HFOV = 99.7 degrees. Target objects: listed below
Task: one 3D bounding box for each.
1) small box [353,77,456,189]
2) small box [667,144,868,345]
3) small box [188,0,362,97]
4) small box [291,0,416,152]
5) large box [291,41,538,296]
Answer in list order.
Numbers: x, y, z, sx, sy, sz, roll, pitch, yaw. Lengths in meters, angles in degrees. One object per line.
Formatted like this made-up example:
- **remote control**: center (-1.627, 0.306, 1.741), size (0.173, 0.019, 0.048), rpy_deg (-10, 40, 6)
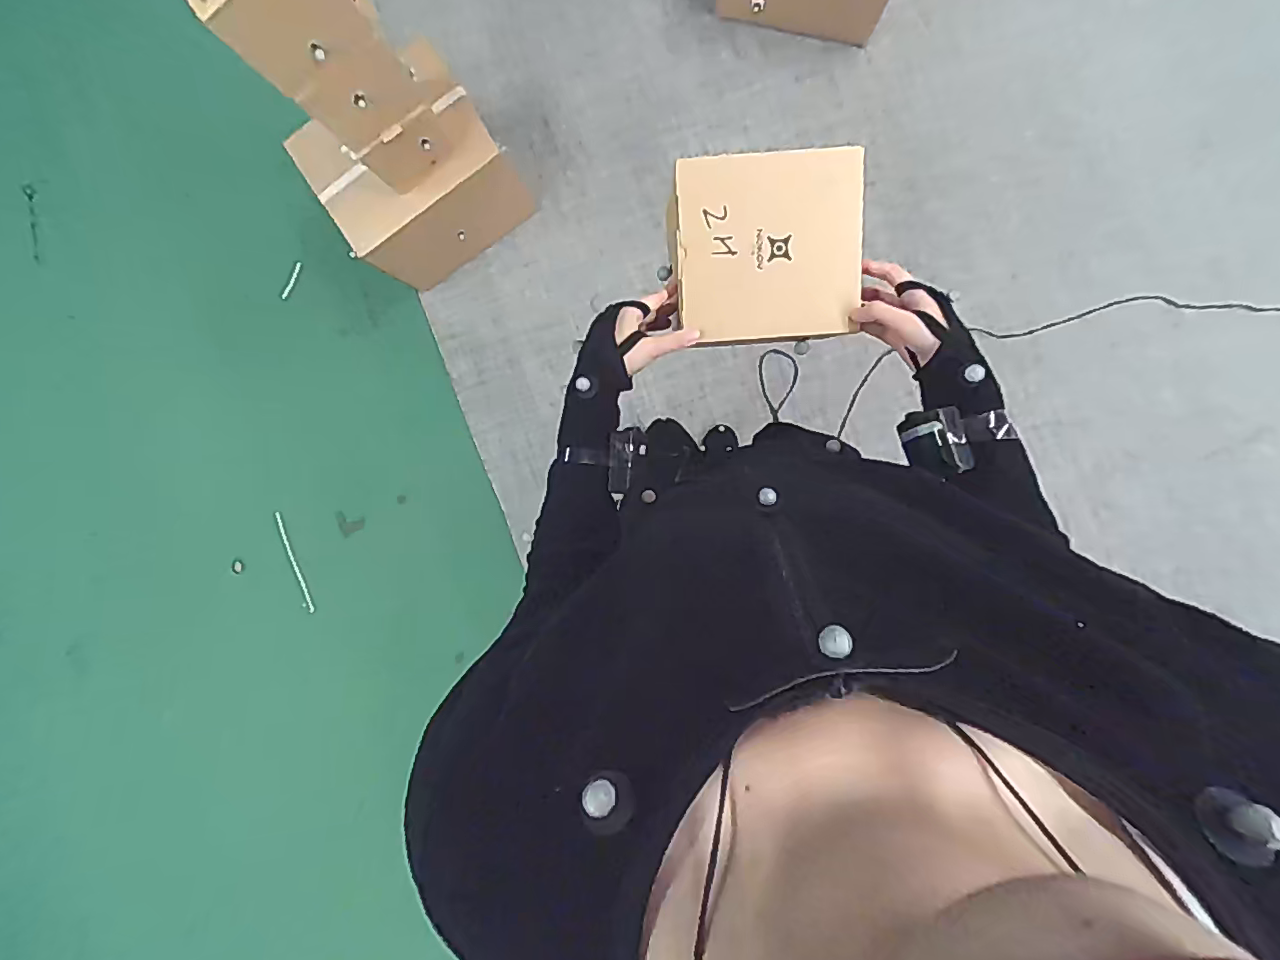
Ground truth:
- **small box**: center (-0.510, -0.732, 1.103), size (0.168, 0.176, 0.179), rpy_deg (-33, 91, 6)
- **small box**: center (0.122, -0.235, 0.580), size (0.179, 0.176, 0.168), rpy_deg (-3, 101, 1)
- **small box**: center (-0.538, -0.715, 0.777), size (0.179, 0.176, 0.168), rpy_deg (-33, 91, 5)
- **small box**: center (-0.522, -0.725, 0.940), size (0.179, 0.176, 0.168), rpy_deg (-34, 91, 6)
- **large box**: center (-0.533, -0.736, 1.350), size (0.408, 0.320, 0.320), rpy_deg (-33, 90, 7)
